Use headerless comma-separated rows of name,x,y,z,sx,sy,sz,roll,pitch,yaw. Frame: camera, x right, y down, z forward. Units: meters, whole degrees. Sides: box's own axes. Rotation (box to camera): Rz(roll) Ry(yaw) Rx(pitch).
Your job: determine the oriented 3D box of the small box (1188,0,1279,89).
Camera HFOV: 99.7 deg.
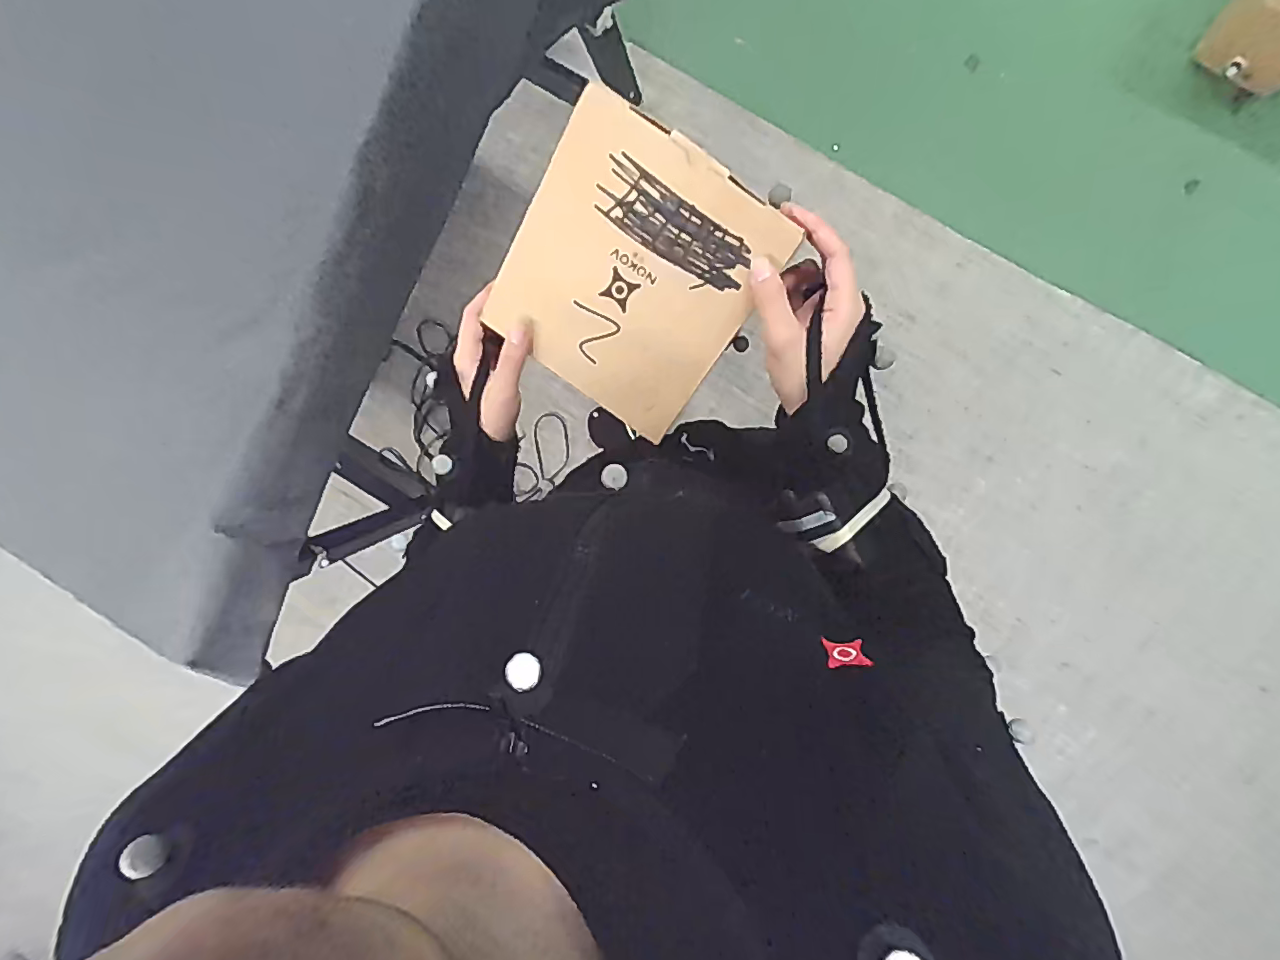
small box,1.142,-0.843,0.942,0.168,0.176,0.179,31,105,4
